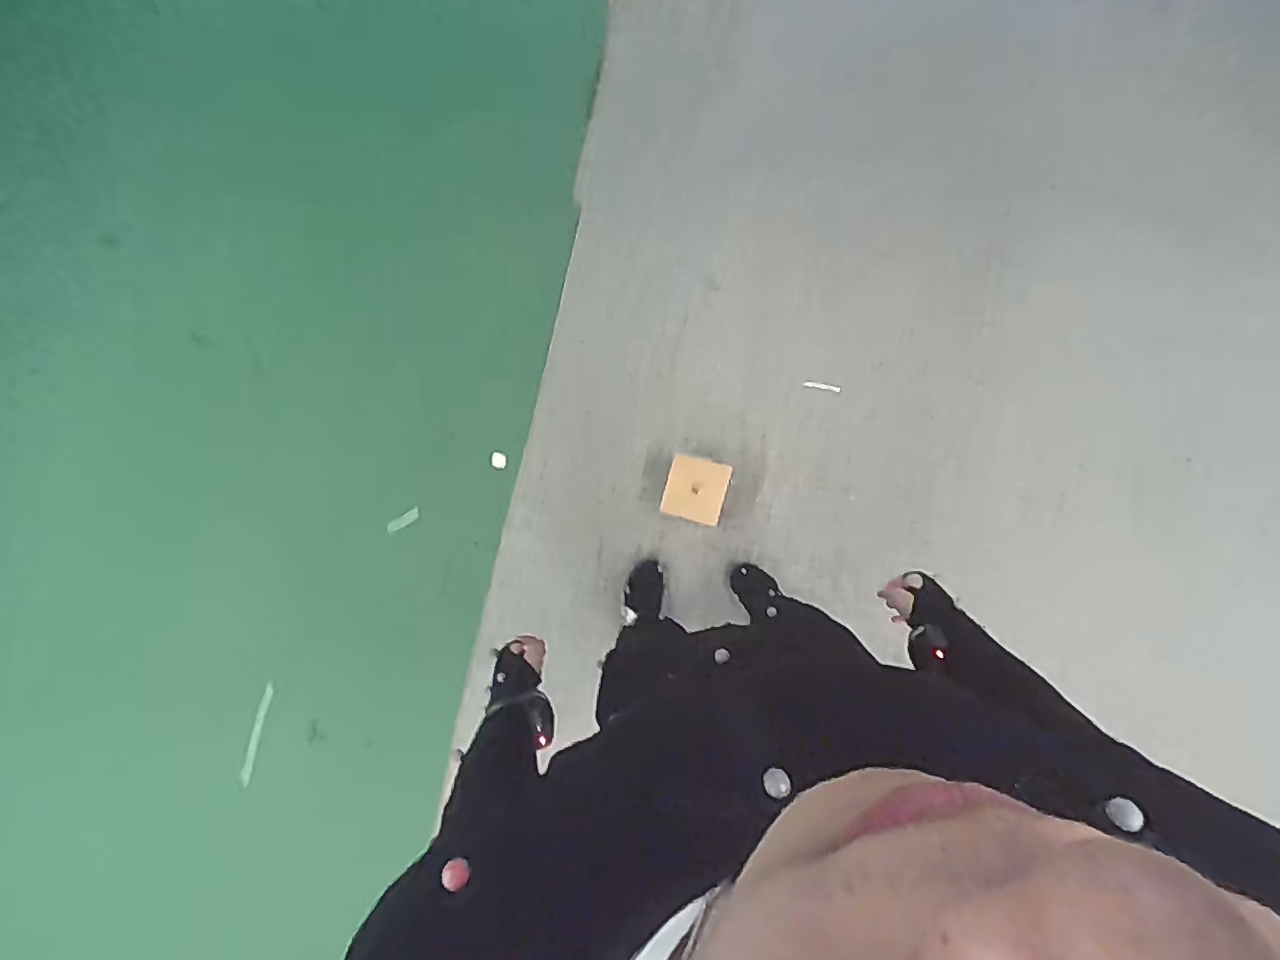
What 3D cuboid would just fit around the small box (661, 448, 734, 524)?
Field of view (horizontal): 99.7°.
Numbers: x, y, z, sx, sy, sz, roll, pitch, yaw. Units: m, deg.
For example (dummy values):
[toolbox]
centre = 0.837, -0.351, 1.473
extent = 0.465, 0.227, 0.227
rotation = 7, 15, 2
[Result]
[small box]
centre = 0.170, 0.025, 1.572
extent = 0.168, 0.176, 0.179
rotation = 16, 84, 9
